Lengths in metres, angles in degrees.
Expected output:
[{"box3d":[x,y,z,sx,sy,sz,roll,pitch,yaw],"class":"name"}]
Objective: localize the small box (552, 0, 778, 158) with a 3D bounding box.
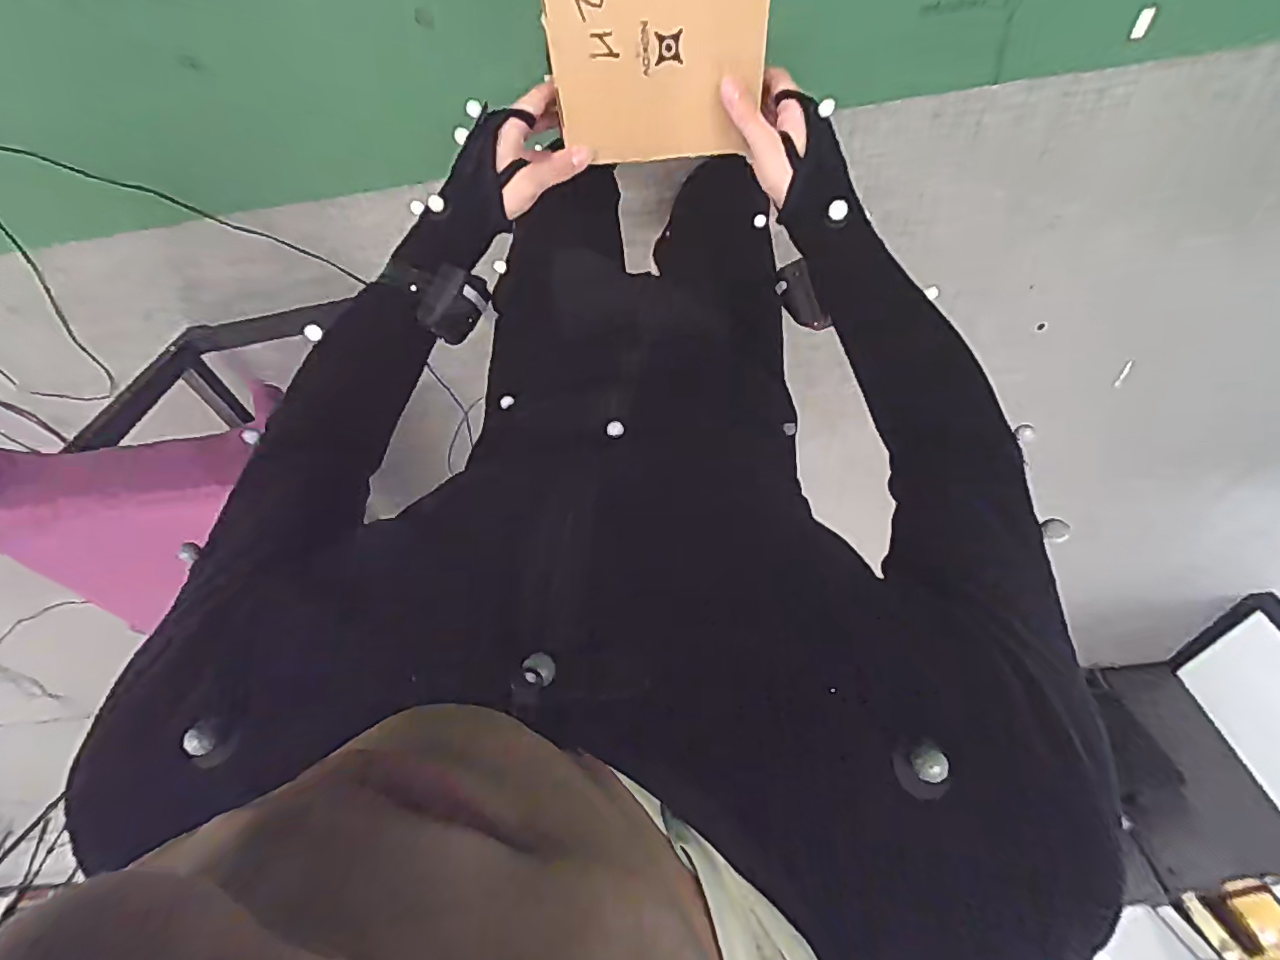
[{"box3d":[0.018,-0.413,0.479,0.179,0.176,0.168,-3,141,2],"class":"small box"}]
